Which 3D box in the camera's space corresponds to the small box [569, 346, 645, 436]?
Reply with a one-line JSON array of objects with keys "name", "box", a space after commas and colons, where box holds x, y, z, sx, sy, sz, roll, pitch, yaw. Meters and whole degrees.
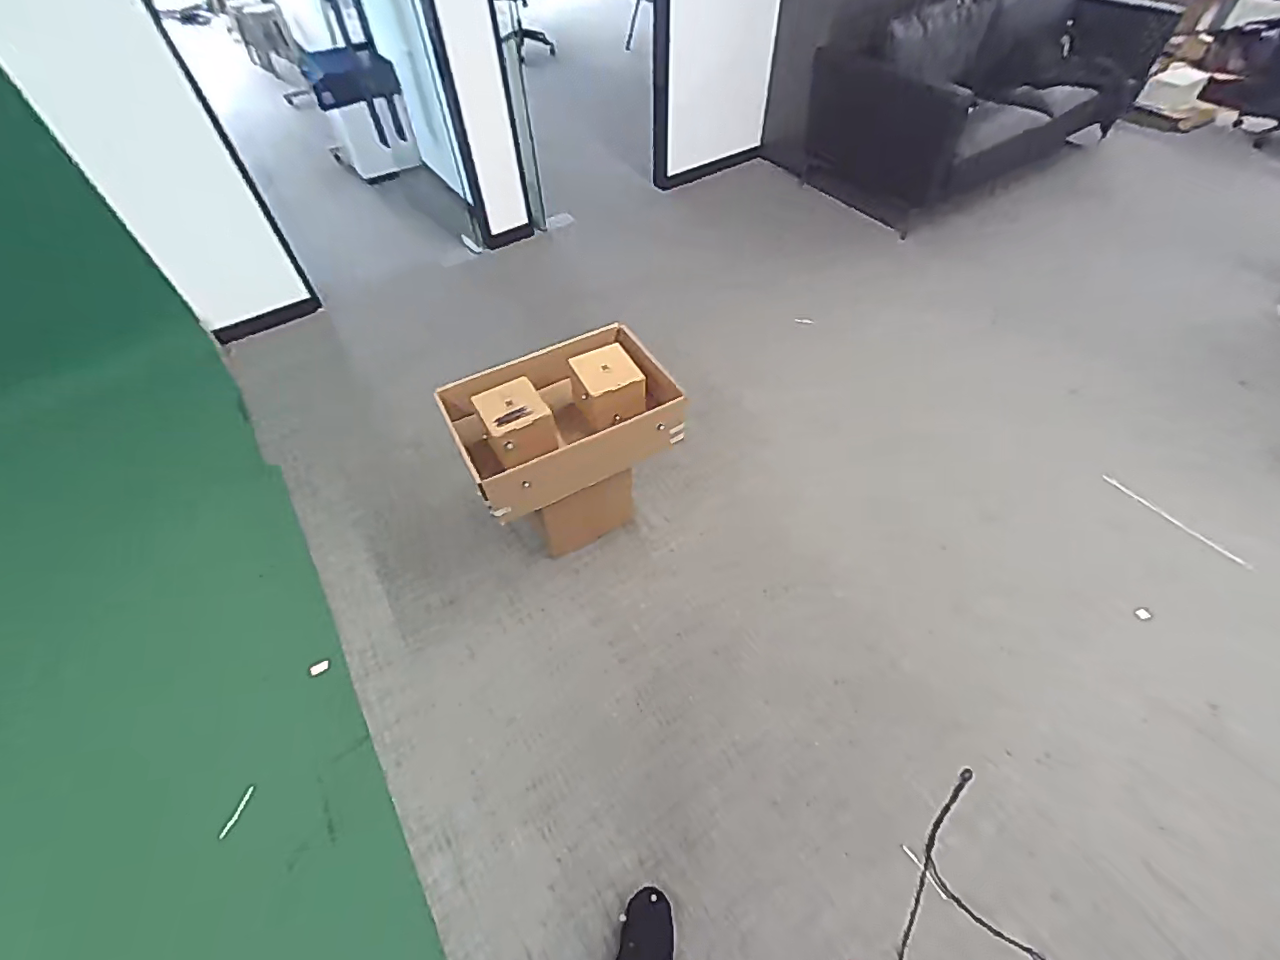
[{"name": "small box", "box": [-0.097, -0.261, 1.597, 0.168, 0.176, 0.179, -23, 56, -17]}]
